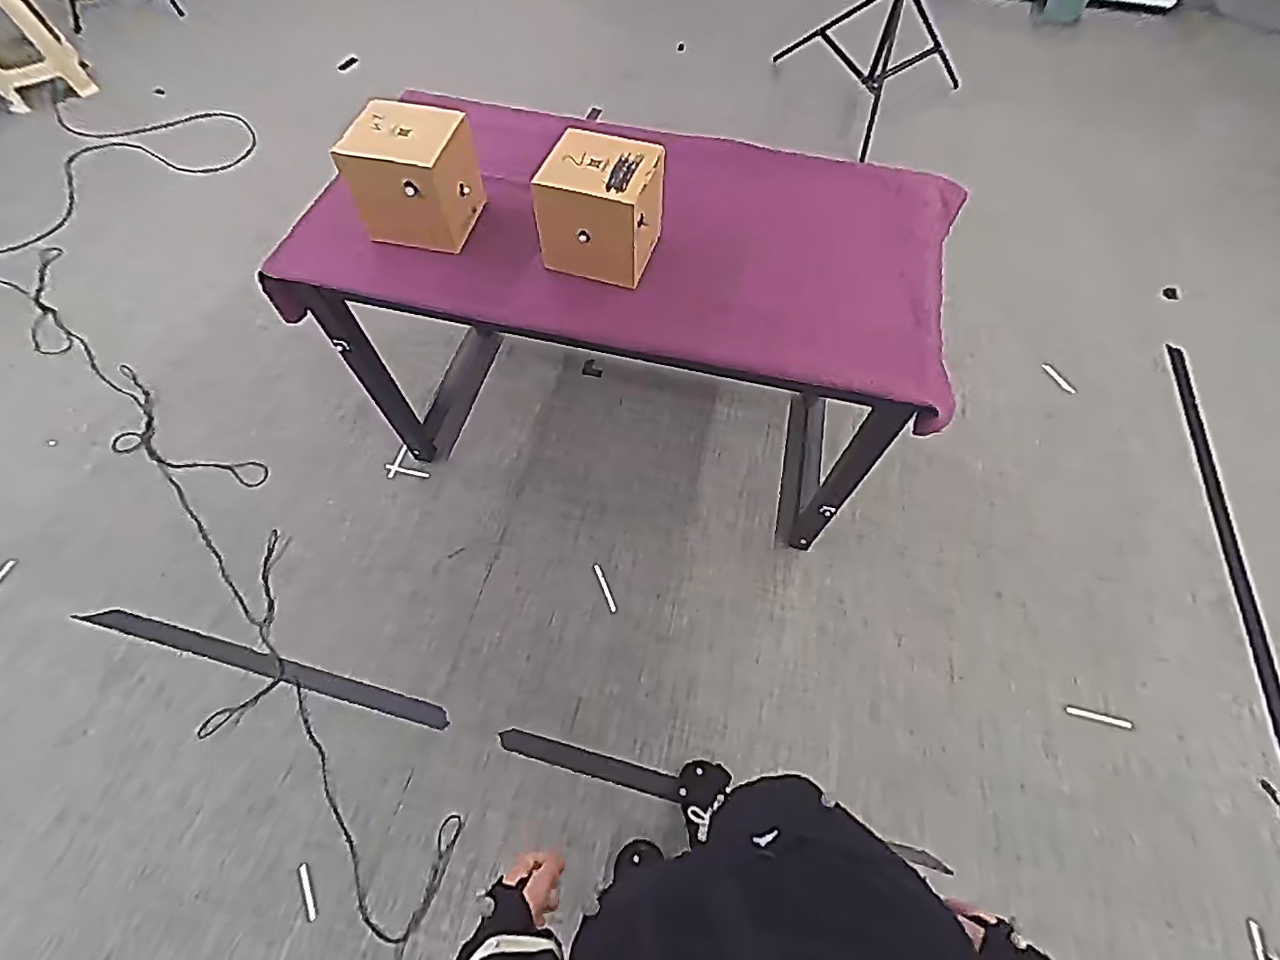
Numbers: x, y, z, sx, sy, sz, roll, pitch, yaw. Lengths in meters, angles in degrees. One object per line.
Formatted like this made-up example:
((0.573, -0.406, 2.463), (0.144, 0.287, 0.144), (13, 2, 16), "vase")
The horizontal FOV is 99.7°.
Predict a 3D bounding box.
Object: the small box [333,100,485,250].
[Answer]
((-0.401, -0.544, 0.979), (0.179, 0.176, 0.168), (11, 61, 5), "small box")
